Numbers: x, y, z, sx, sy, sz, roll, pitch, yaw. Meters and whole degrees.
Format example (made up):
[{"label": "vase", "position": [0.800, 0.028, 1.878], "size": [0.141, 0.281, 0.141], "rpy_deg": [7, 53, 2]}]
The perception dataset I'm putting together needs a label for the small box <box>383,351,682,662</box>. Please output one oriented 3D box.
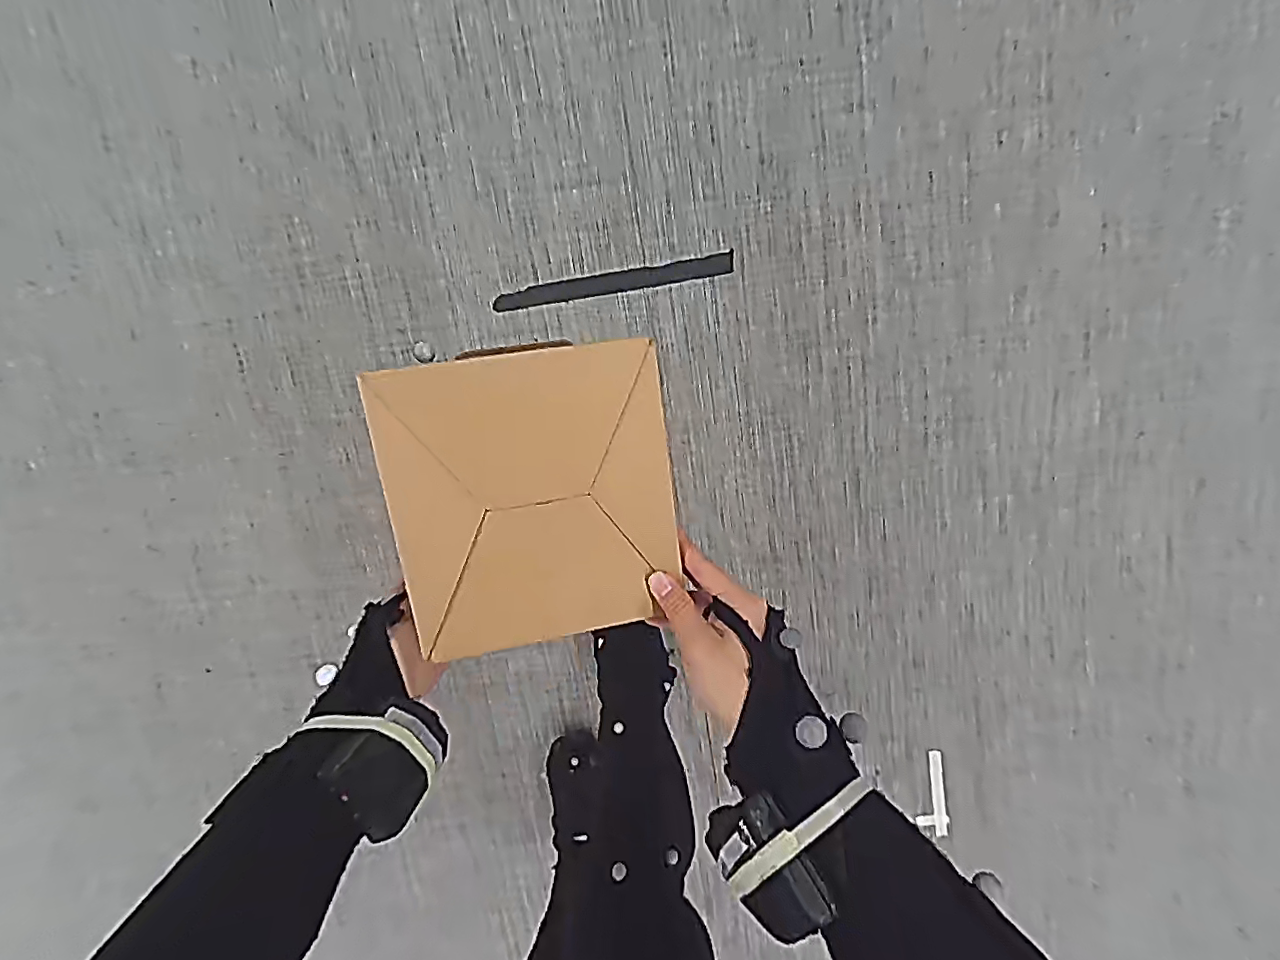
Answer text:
[{"label": "small box", "position": [-0.075, 0.002, 0.401], "size": [0.168, 0.176, 0.179], "rpy_deg": [-9, 102, -10]}]
